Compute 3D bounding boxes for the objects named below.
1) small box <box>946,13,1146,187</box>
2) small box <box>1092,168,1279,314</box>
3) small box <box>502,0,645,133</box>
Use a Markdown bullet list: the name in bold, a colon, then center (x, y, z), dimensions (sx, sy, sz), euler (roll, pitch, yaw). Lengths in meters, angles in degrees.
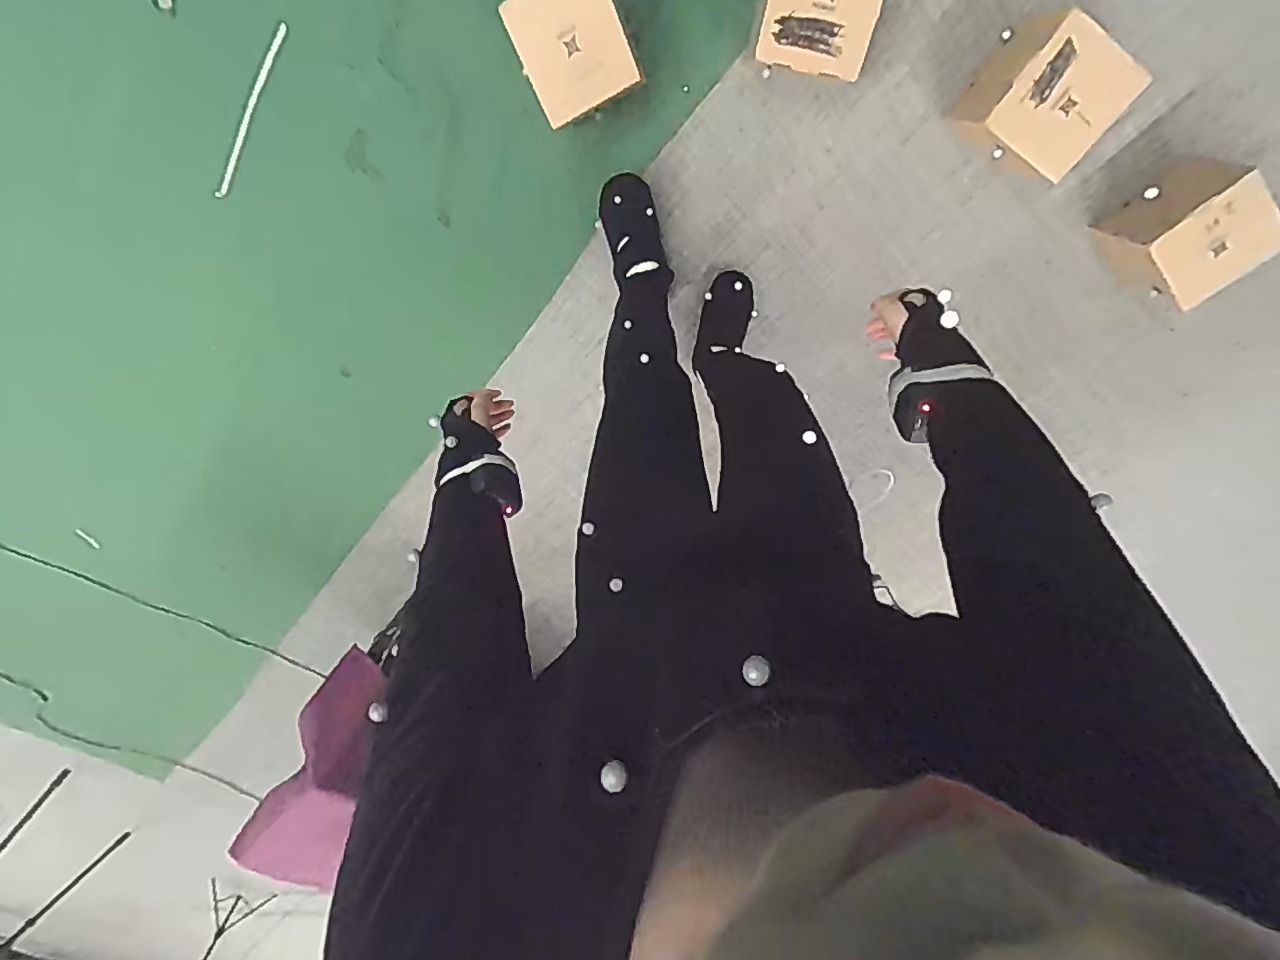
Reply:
- **small box**: center (0.661, -0.626, 0.907), dimensions (0.179, 0.176, 0.168), euler (27, 123, -14)
- **small box**: center (1.003, -0.448, 1.002), dimensions (0.179, 0.176, 0.168), euler (38, 119, -20)
- **small box**: center (-0.101, -0.715, 0.912), dimensions (0.168, 0.176, 0.179), euler (-18, 121, 17)
